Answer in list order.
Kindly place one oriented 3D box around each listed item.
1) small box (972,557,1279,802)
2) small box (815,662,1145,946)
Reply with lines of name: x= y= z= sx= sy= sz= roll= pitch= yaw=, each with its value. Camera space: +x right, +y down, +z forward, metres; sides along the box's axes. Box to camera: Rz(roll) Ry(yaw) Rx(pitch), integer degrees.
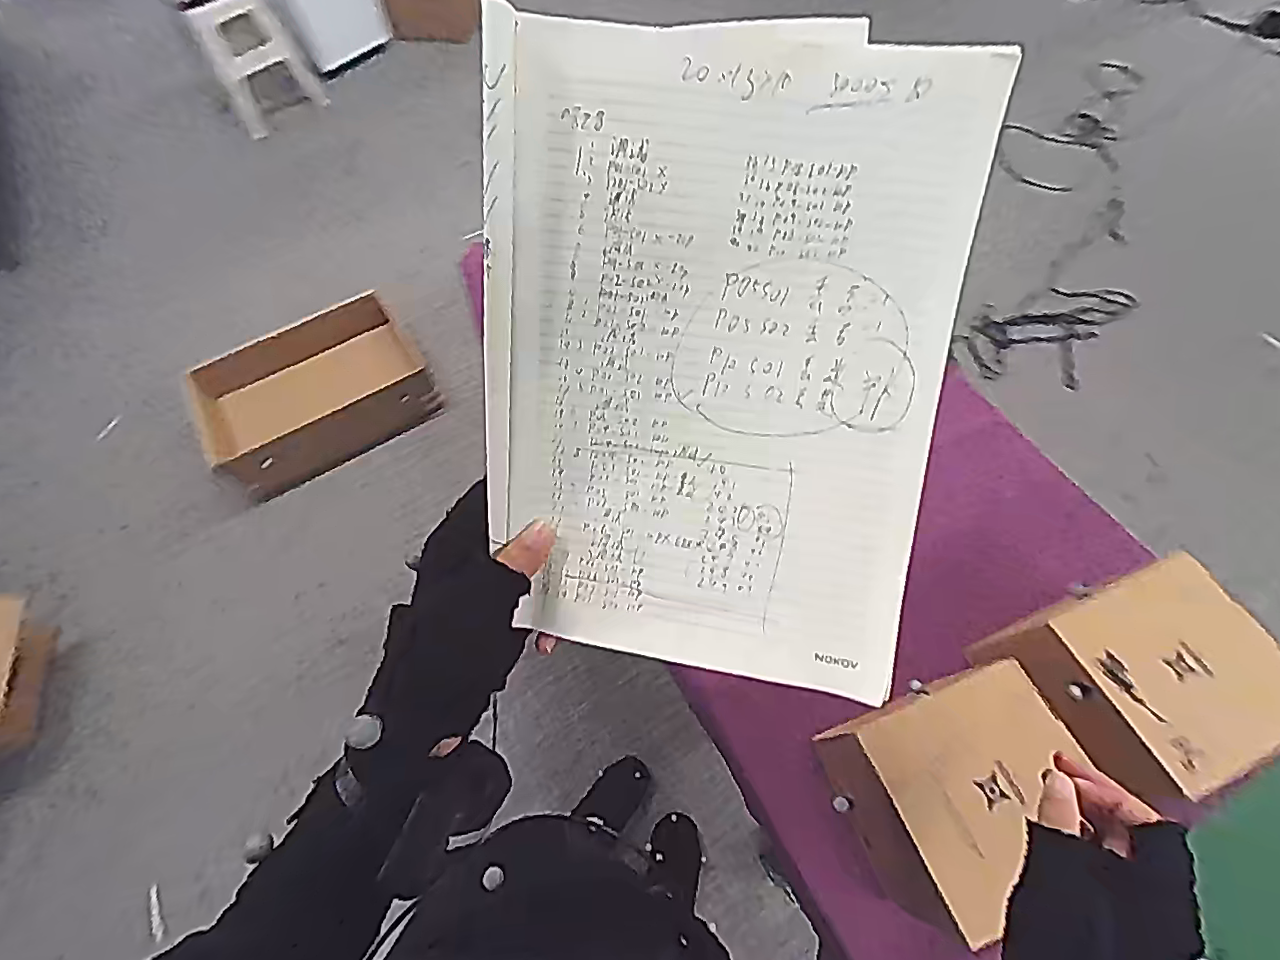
small box: x=0.502 y=0.207 z=0.566 sx=0.179 sy=0.176 sz=0.168 roll=-21 pitch=64 yaw=-9
small box: x=0.300 y=0.296 z=0.526 sx=0.179 sy=0.176 sz=0.168 roll=-19 pitch=63 yaw=-8
